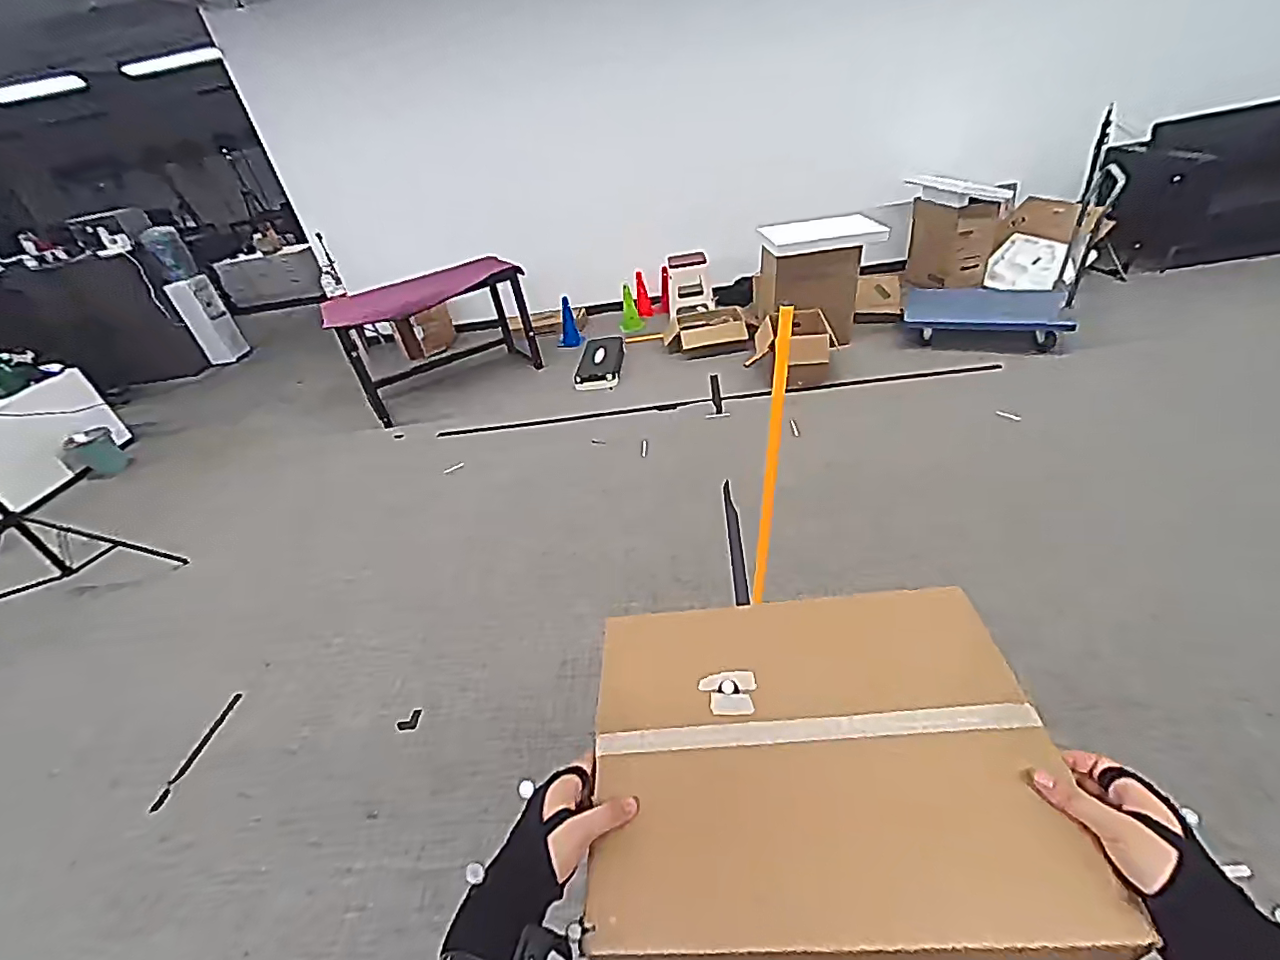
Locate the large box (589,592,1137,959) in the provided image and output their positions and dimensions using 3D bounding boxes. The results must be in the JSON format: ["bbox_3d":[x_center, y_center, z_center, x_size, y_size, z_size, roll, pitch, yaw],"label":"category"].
[{"bbox_3d":[0.186,0.363,0.604,0.408,0.320,0.320,-8,36,8],"label":"large box"}]
